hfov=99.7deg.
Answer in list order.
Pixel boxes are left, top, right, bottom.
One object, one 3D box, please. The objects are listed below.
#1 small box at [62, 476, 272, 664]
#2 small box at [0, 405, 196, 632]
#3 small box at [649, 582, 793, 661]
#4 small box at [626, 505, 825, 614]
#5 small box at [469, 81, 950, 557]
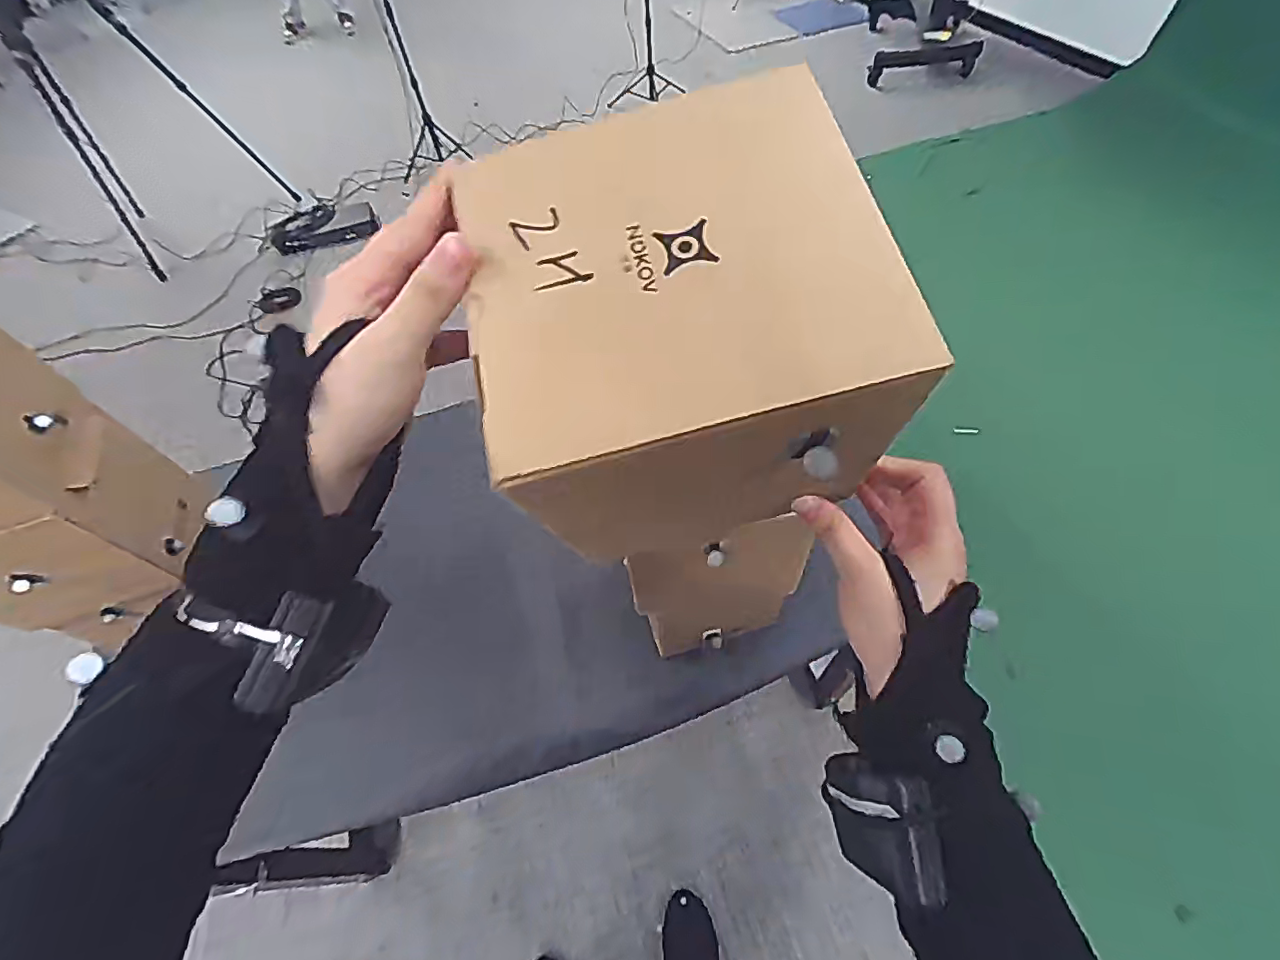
[{"bbox_3d":[-0.653,0.129,0.762,0.168,0.176,0.179,-20,56,-9],"label":"small box"},{"bbox_3d":[-0.658,0.049,0.617,0.179,0.176,0.168,-20,57,-8],"label":"small box"},{"bbox_3d":[0.079,0.109,0.707,0.168,0.176,0.179,-17,55,-5],"label":"small box"},{"bbox_3d":[0.070,0.025,0.567,0.179,0.176,0.168,-9,54,1],"label":"small box"},{"bbox_3d":[0.026,-0.066,0.305,0.179,0.176,0.168,-14,69,3],"label":"small box"}]
